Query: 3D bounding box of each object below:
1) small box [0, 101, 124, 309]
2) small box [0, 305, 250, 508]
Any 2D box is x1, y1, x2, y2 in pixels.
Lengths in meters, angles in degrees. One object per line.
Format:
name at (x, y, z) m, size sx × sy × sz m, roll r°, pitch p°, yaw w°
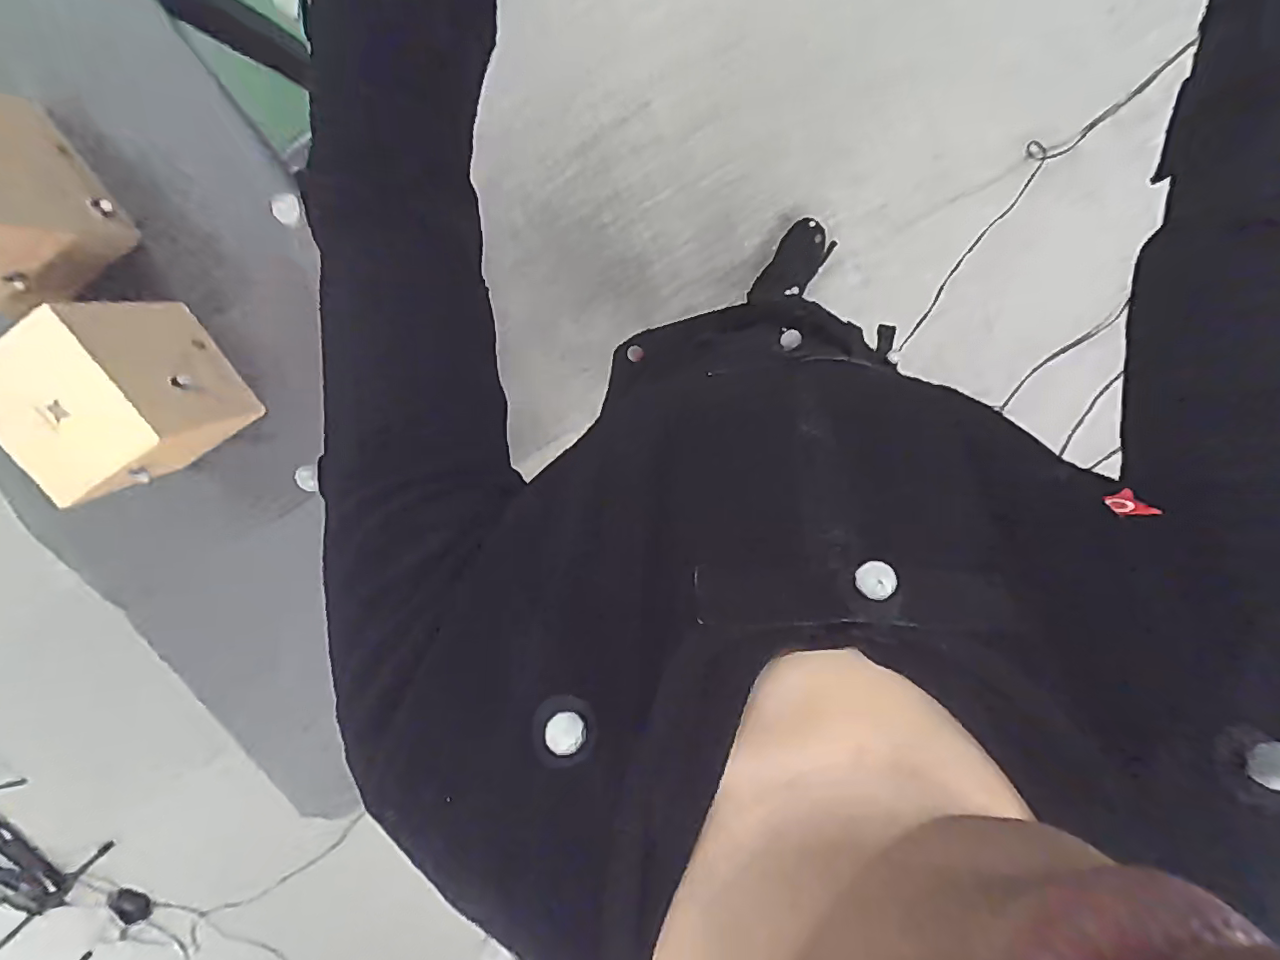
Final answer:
small box at (-0.736, -0.302, 0.590) m, size 0.179 × 0.176 × 0.168 m, roll -27°, pitch 105°, yaw 13°
small box at (-0.627, -0.098, 0.656) m, size 0.179 × 0.176 × 0.168 m, roll -27°, pitch 105°, yaw 13°
